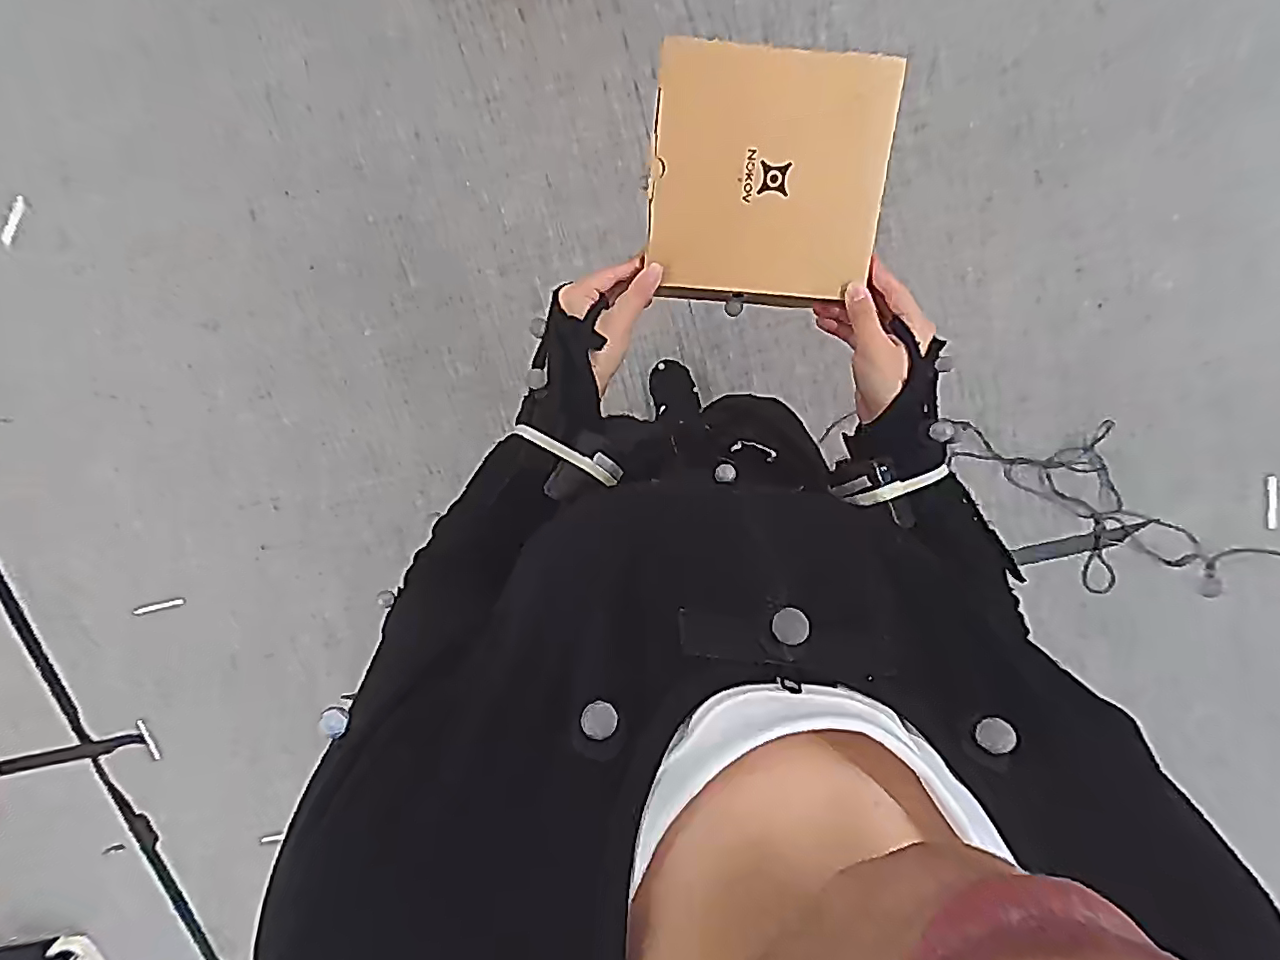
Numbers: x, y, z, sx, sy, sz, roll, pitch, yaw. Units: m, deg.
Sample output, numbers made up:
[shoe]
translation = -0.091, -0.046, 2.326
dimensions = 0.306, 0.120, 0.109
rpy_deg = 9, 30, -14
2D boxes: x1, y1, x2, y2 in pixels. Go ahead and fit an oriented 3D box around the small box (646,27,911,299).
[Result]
[small box]
translation = 0.099, -0.253, 0.476
dimensions = 0.179, 0.176, 0.168
rpy_deg = 5, 106, 0
